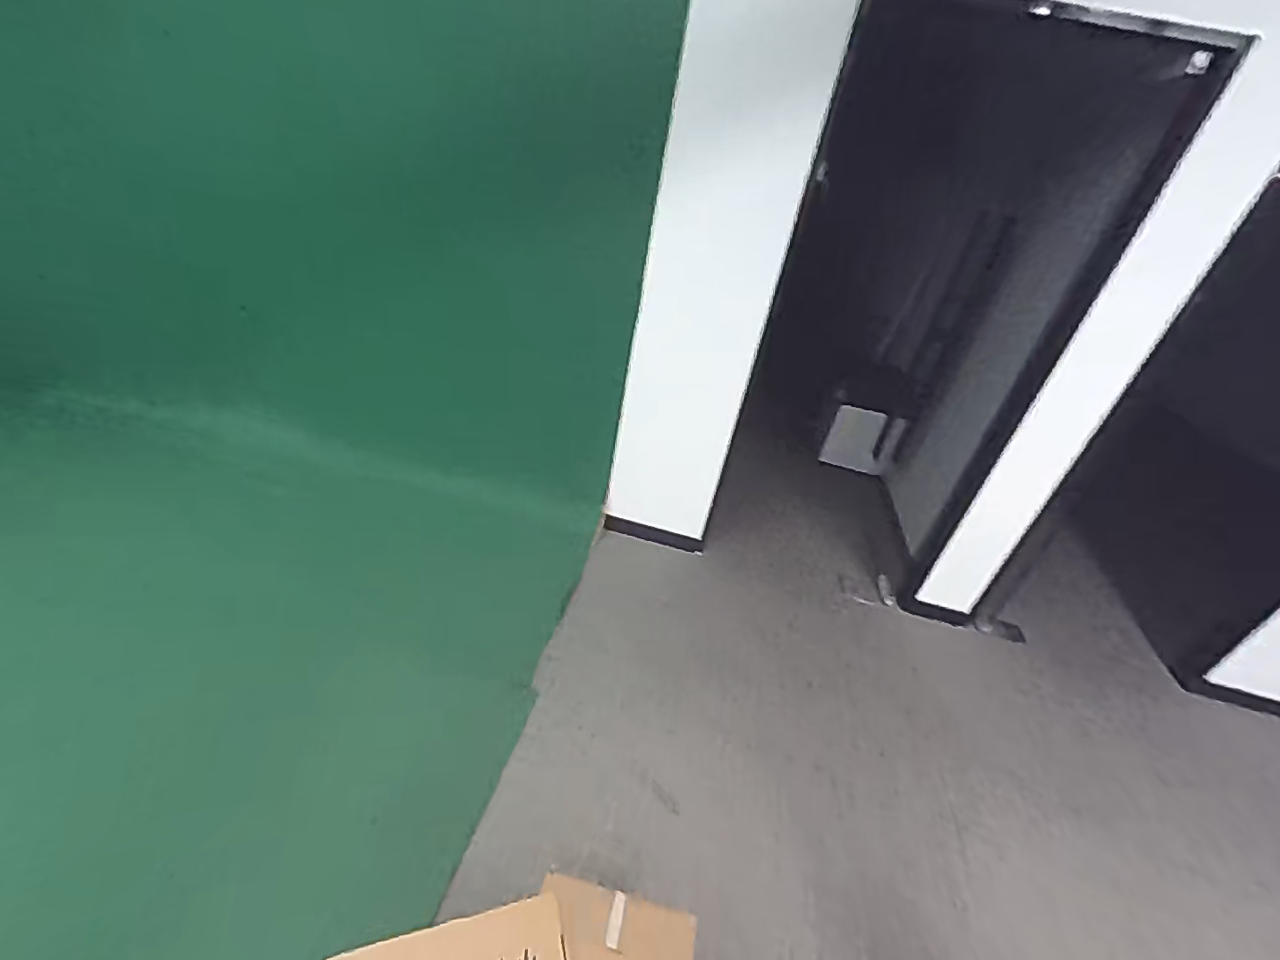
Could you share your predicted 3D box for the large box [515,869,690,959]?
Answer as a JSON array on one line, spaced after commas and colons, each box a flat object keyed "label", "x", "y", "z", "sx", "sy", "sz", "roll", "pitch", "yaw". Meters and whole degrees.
[{"label": "large box", "x": -0.107, "y": 1.043, "z": 0.987, "sx": 0.320, "sy": 0.320, "sz": 0.408, "roll": 15, "pitch": 31, "yaw": 5}]
